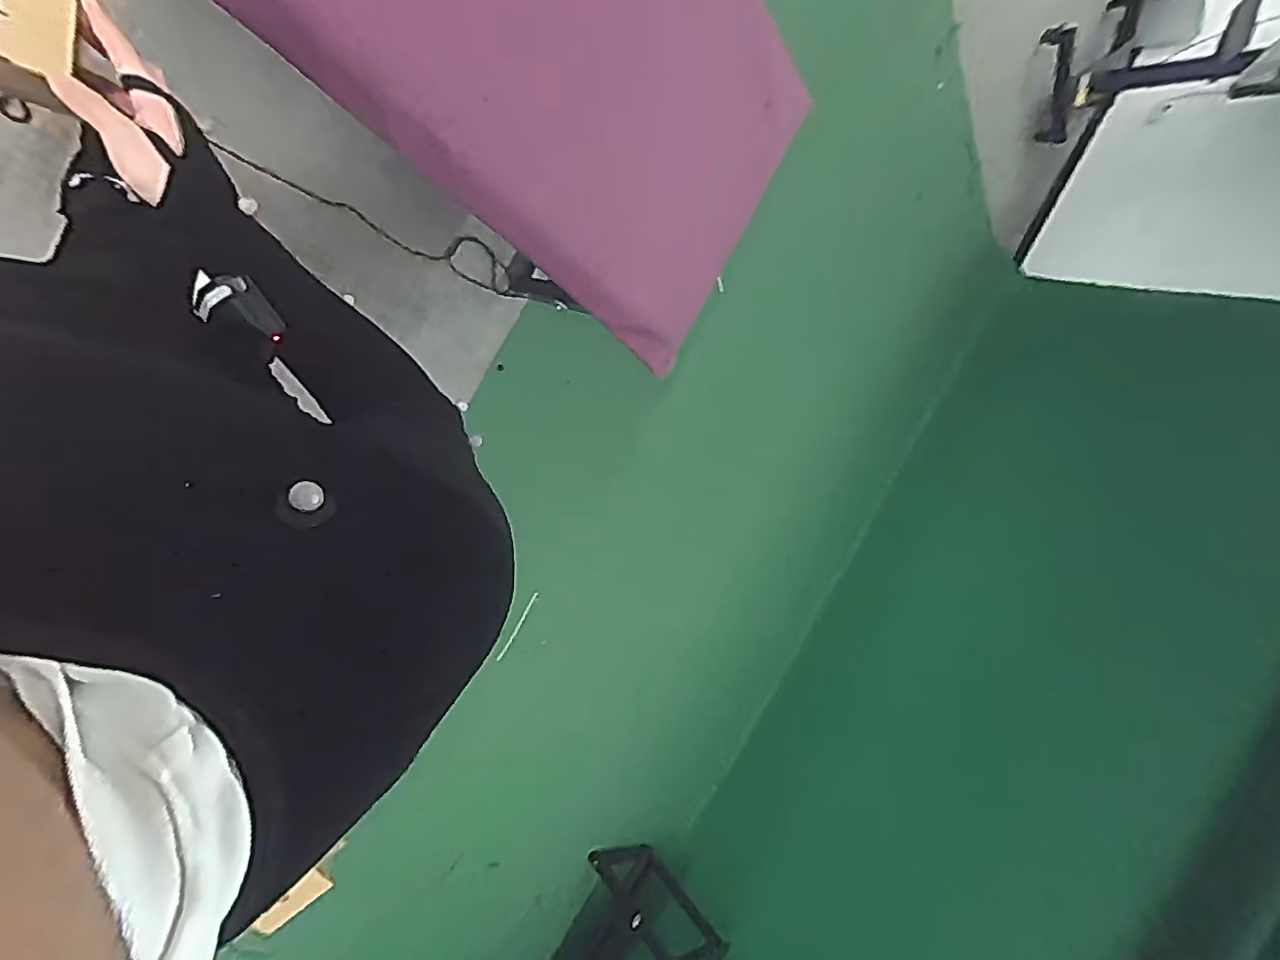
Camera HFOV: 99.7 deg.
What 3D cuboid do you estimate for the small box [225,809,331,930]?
[{"bbox_3d":[-0.953,1.013,1.422,0.168,0.176,0.179,-30,129,-26],"label":"small box"}]
